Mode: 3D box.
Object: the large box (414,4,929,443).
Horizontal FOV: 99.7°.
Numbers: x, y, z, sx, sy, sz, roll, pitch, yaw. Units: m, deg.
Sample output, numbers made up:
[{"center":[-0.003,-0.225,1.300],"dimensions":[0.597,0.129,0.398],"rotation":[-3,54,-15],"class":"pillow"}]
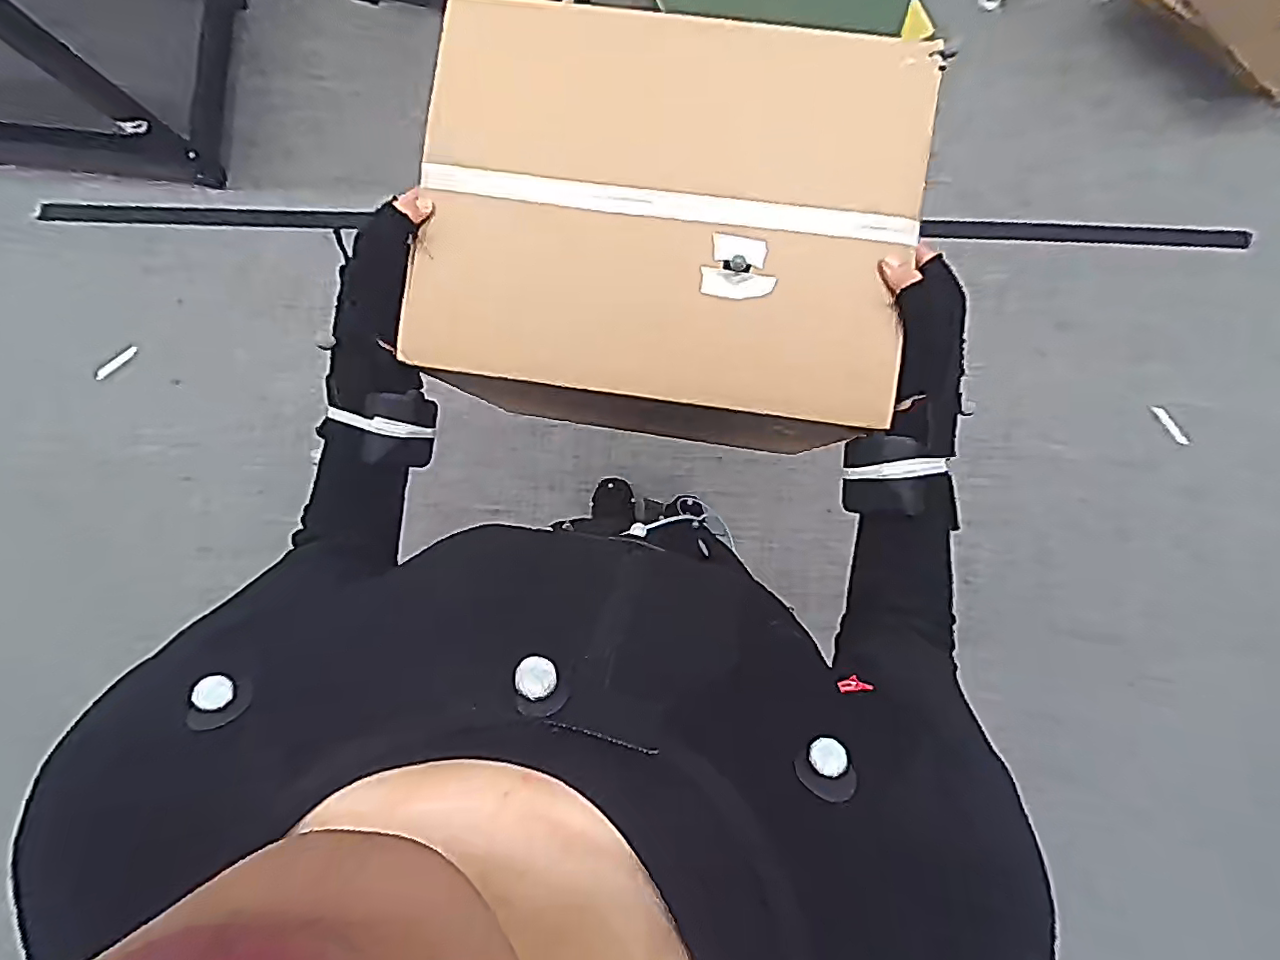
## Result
[{"center":[0.027,-0.227,0.599],"dimensions":[0.408,0.320,0.320],"rotation":[9,91,2],"class":"large box"}]
